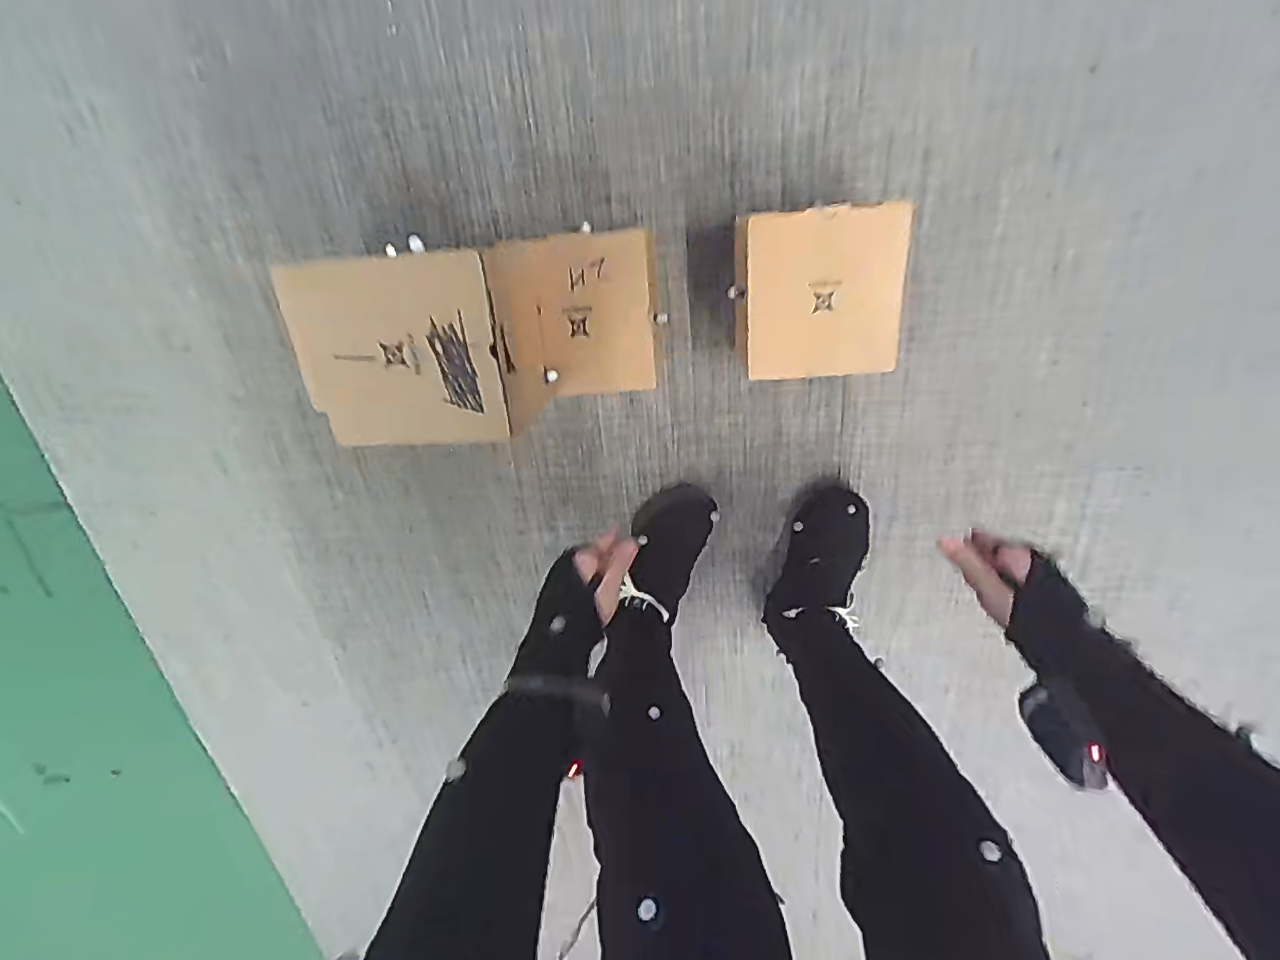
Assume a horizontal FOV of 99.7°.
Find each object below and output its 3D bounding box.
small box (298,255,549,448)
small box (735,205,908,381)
[{"bbox_3d":[-0.197,-0.139,0.557,0.179,0.176,0.168,-2,112,5],"label":"small box"},{"bbox_3d":[0.207,-0.230,0.665,0.168,0.176,0.179,-3,112,6],"label":"small box"}]
